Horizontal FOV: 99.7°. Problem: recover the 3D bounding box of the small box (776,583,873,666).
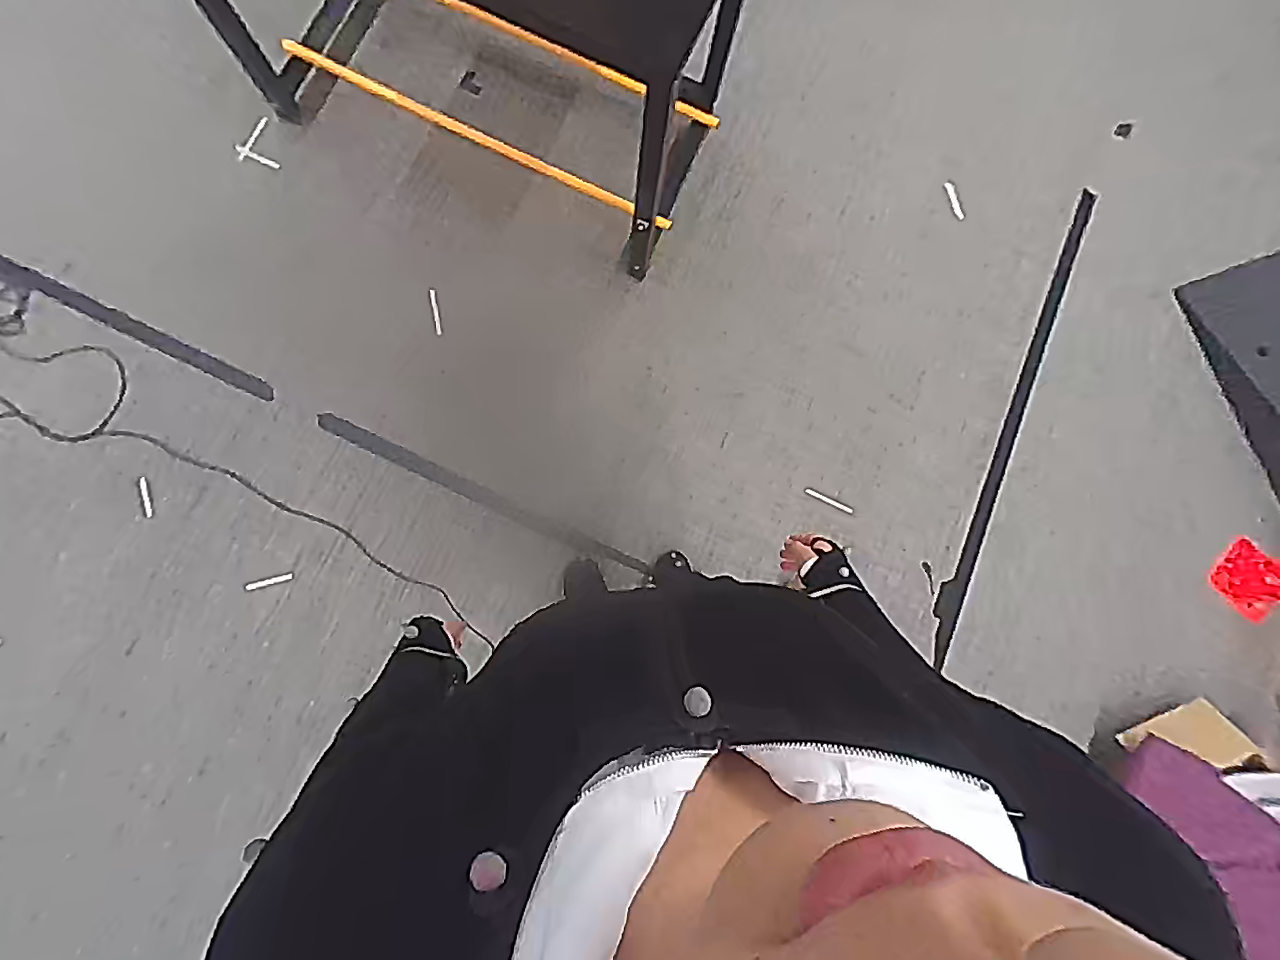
[{"bbox_3d":[0.487,0.377,1.444,0.179,0.176,0.168,18,80,0],"label":"small box"}]
